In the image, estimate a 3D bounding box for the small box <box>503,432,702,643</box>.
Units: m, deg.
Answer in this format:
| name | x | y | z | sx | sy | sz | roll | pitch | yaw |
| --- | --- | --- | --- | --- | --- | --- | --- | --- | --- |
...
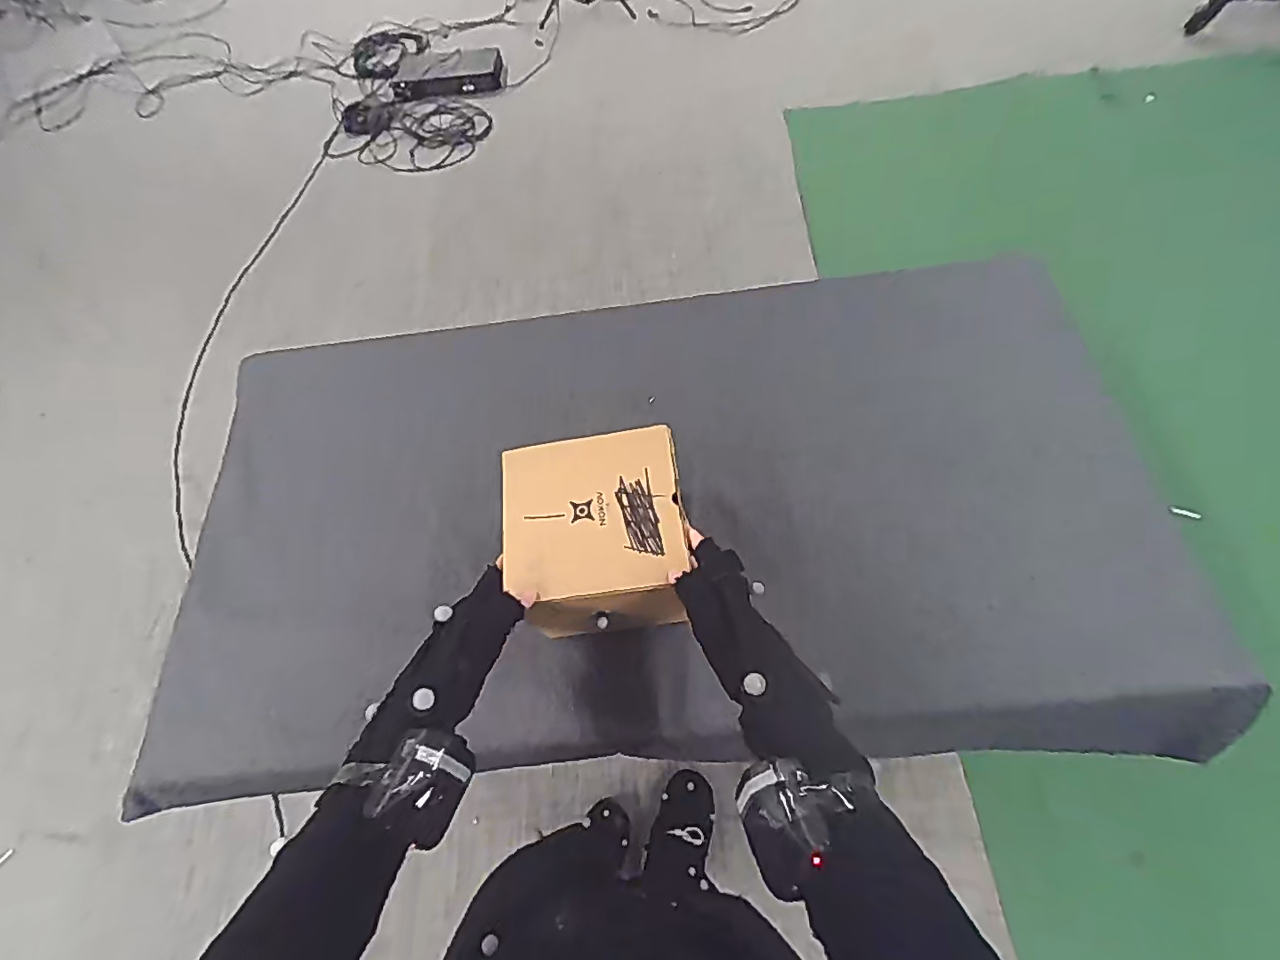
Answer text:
| name | x | y | z | sx | sy | sz | roll | pitch | yaw |
| --- | --- | --- | --- | --- | --- | --- | --- | --- | --- |
| small box | -0.037 | 0.071 | 0.587 | 0.179 | 0.176 | 0.168 | -10 | 64 | 0 |
